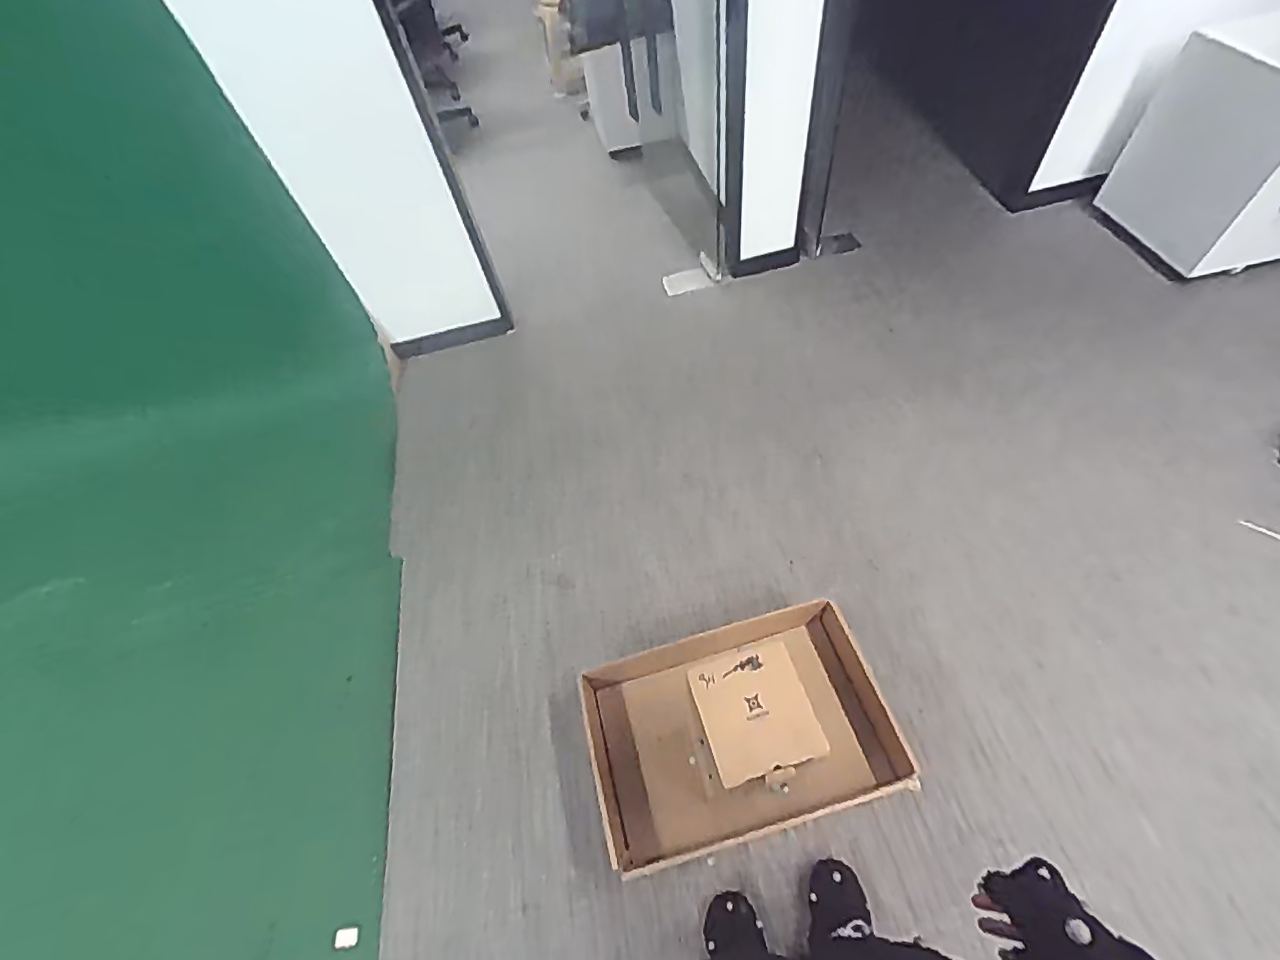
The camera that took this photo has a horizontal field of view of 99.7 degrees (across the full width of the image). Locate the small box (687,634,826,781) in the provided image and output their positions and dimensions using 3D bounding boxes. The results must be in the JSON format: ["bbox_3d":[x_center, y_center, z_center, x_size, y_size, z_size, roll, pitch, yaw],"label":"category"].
[{"bbox_3d":[0.183,0.381,0.891,0.168,0.176,0.179,-16,56,-4],"label":"small box"}]

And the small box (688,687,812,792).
[{"bbox_3d":[0.199,0.465,1.012,0.168,0.176,0.179,-19,56,-5],"label":"small box"}]

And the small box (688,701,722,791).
[{"bbox_3d":[0.212,0.554,1.165,0.179,0.176,0.168,-16,55,0],"label":"small box"}]
